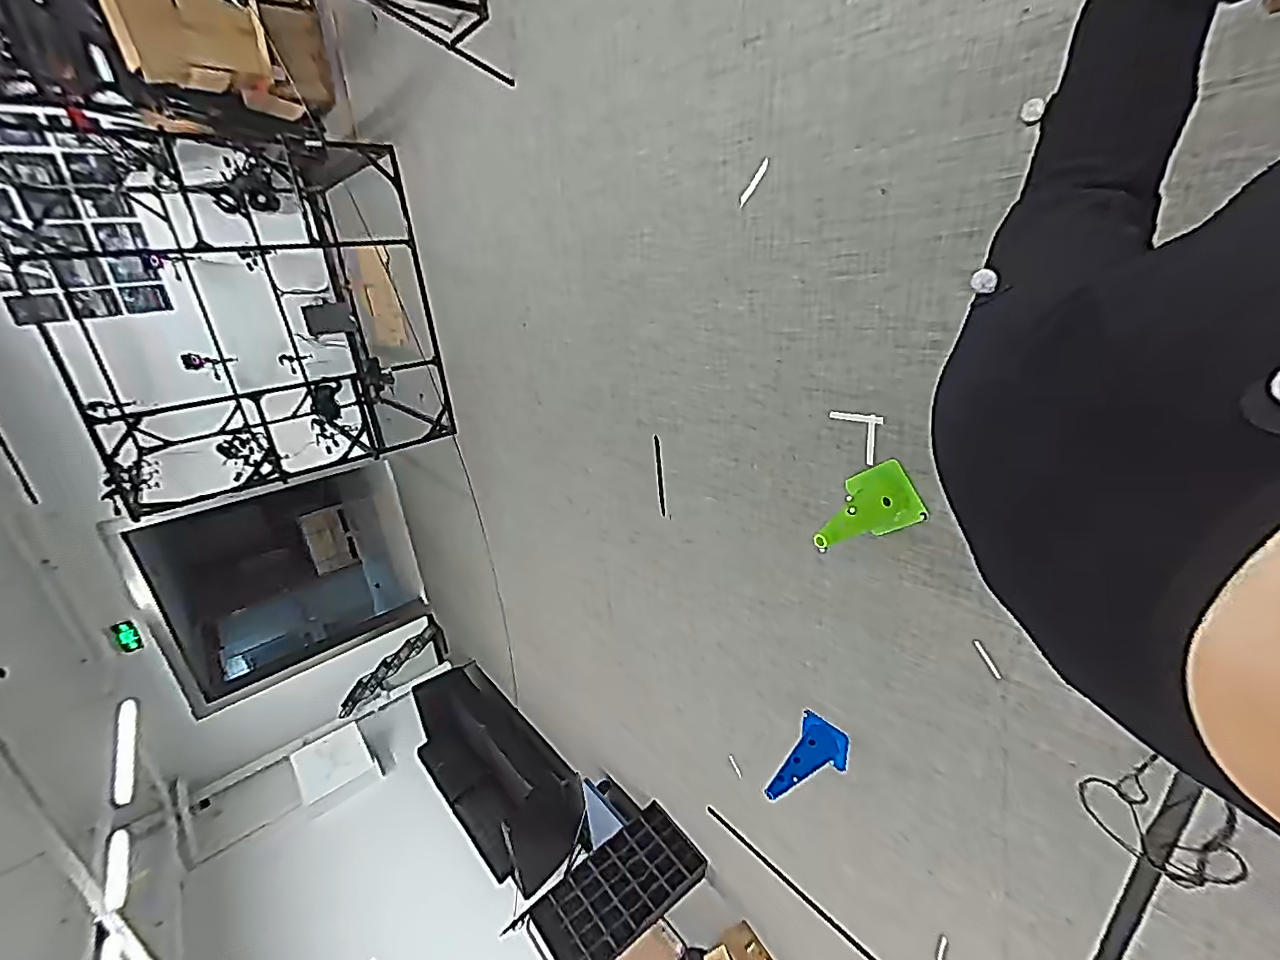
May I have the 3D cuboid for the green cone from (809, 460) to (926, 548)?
[{"bbox_3d":[0.611,0.106,1.550,0.200,0.368,0.202,63,146,9],"label":"green cone"}]

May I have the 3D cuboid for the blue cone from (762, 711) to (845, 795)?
[{"bbox_3d":[0.613,1.097,2.096,0.192,0.380,0.193,25,127,46],"label":"blue cone"}]
